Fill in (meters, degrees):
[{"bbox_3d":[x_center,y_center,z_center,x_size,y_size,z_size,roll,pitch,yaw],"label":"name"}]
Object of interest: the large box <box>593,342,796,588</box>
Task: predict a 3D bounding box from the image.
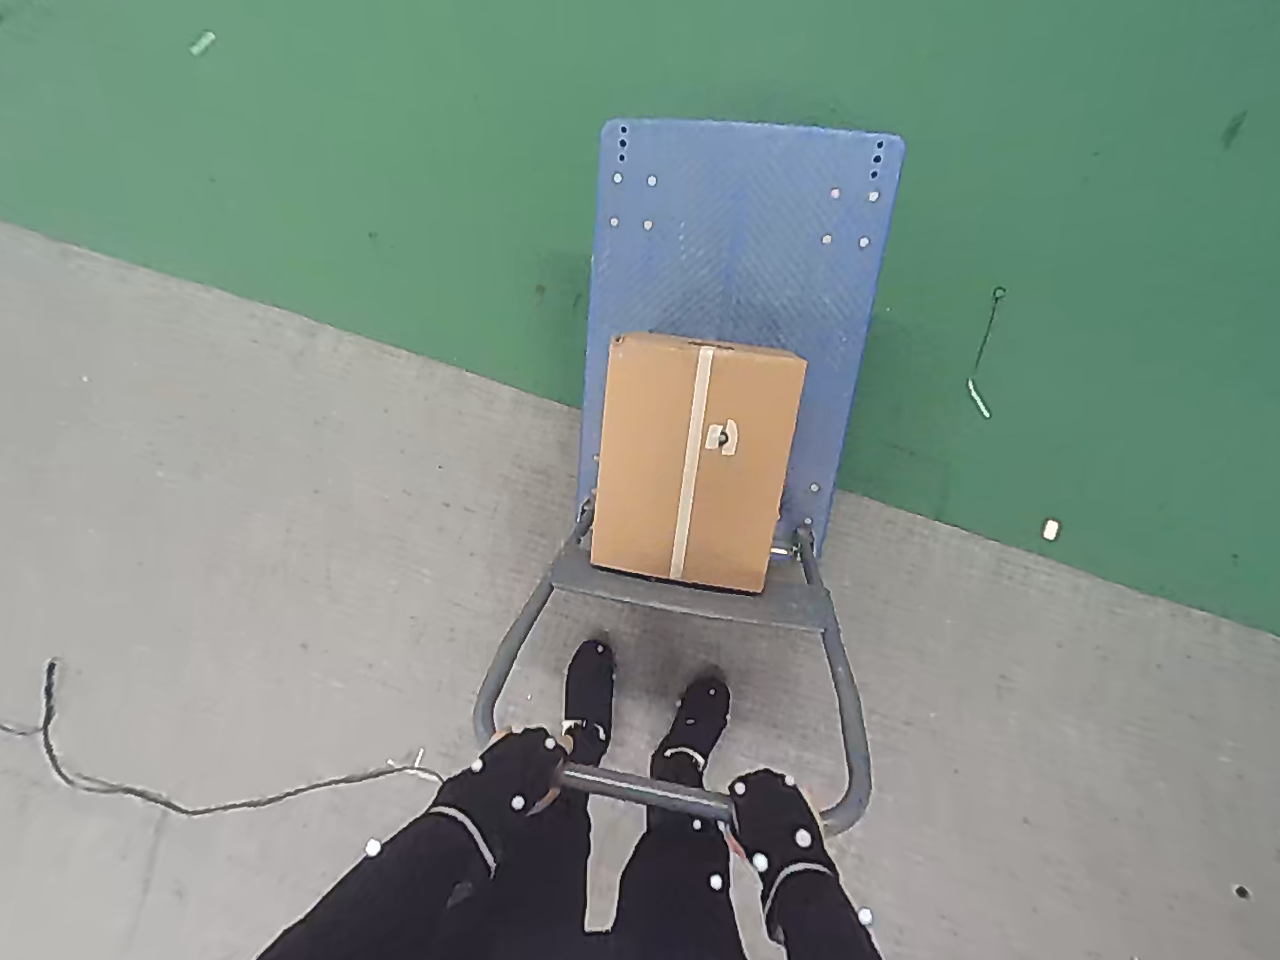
[{"bbox_3d":[0.107,-0.051,1.073,0.320,0.320,0.408,9,105,7],"label":"large box"}]
